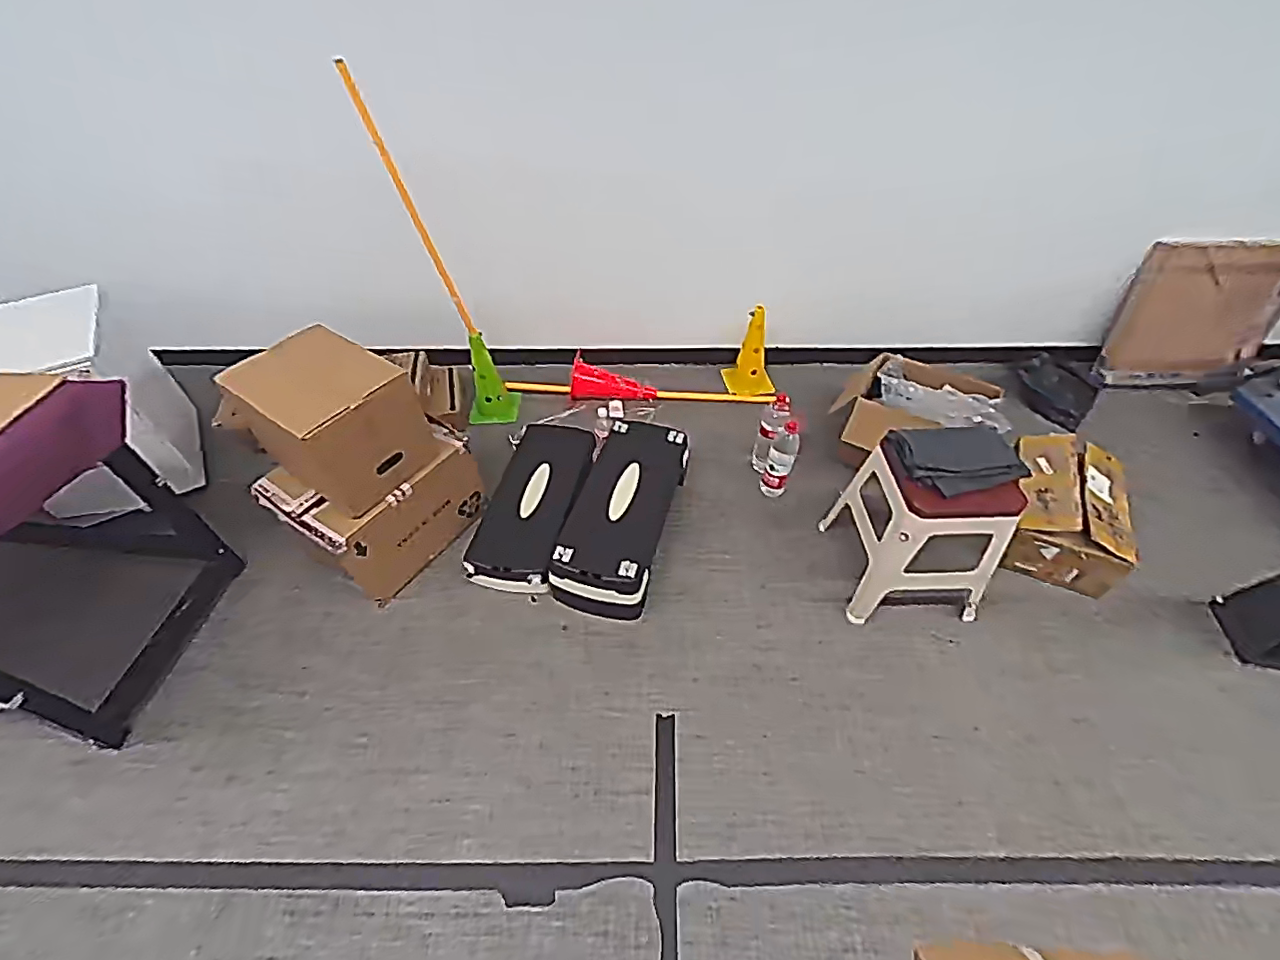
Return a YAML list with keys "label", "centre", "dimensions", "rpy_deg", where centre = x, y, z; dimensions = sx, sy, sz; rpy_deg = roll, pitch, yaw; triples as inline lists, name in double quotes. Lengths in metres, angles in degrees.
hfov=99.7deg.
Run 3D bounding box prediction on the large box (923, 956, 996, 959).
- label: "large box"
  centre: [0.533, 0.808, 0.546]
  dimensions: [0.320, 0.408, 0.320]
  rpy_deg: [2, 84, 3]
